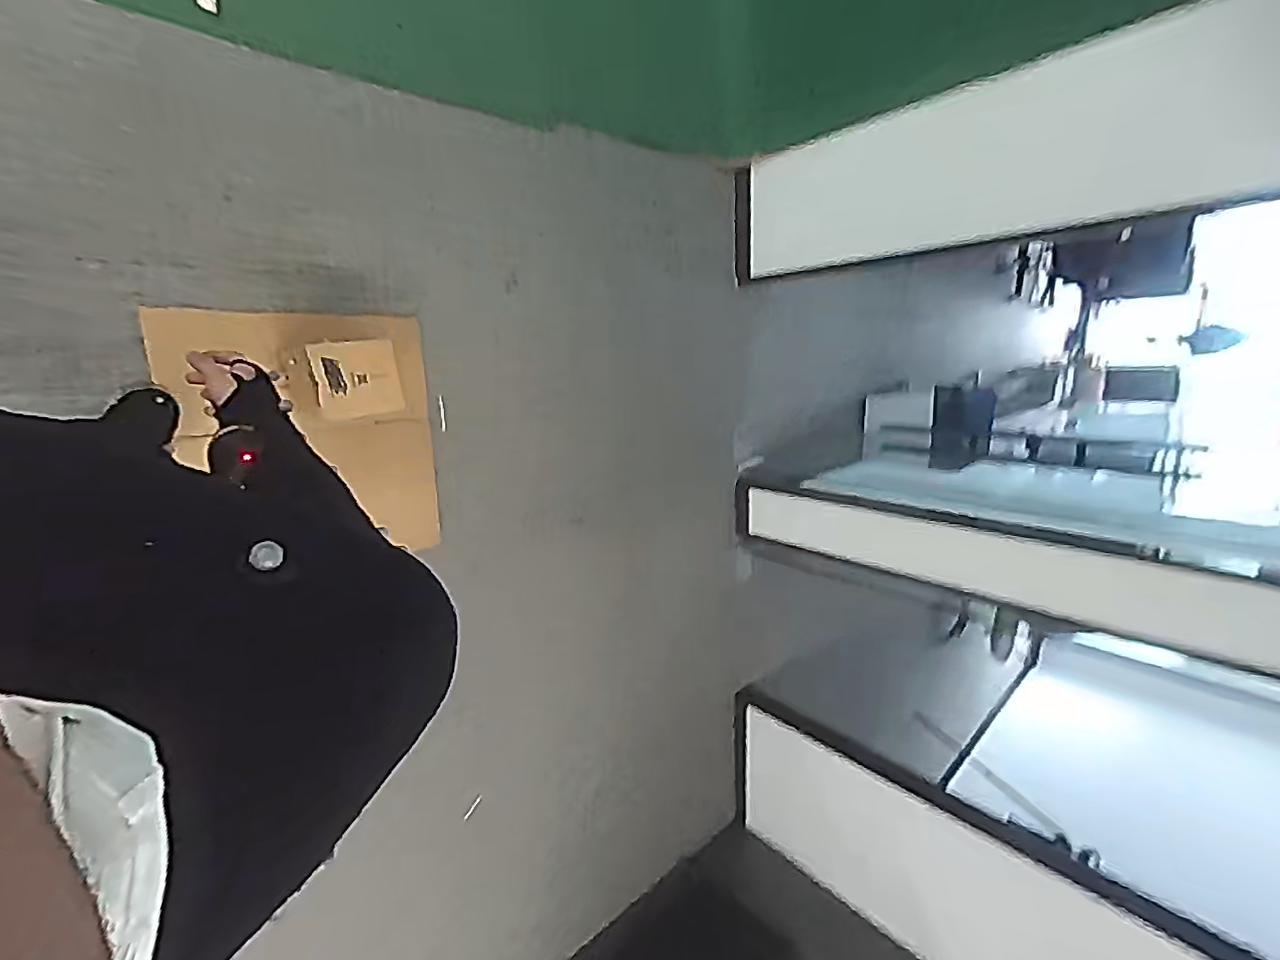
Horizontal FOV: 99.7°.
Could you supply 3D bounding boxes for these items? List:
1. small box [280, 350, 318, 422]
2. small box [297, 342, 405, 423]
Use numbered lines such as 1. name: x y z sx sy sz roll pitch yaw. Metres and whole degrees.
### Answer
1. small box: -0.780 -0.250 1.371 0.179 0.176 0.168 -20 111 -37
2. small box: -0.672 -0.227 1.250 0.179 0.176 0.168 -17 109 -40
